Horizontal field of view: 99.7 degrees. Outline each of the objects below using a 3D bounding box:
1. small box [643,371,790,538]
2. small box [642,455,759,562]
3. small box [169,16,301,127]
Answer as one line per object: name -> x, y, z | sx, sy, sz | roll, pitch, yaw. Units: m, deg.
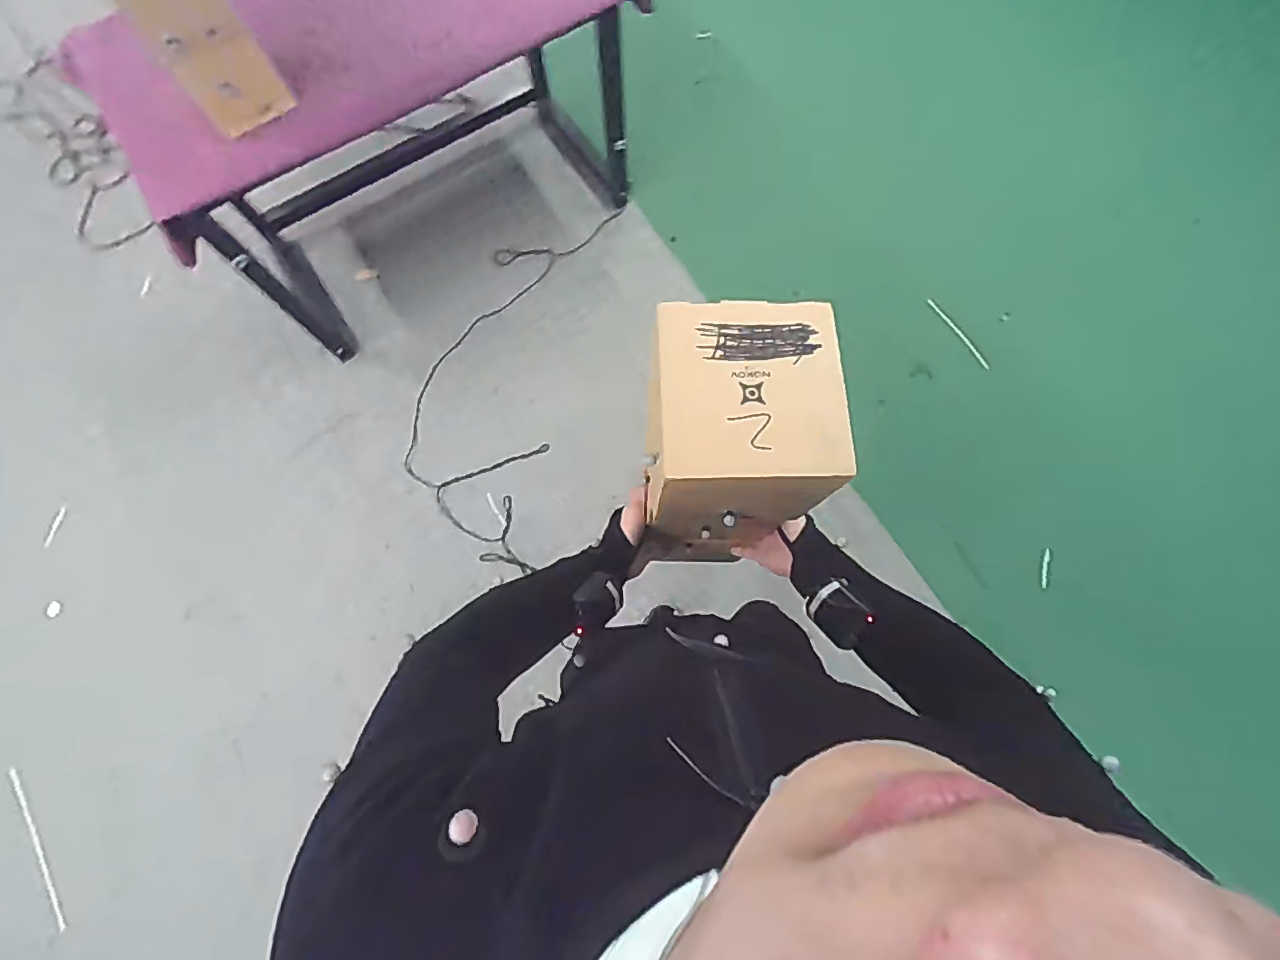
small box -> 0.091, -0.024, 0.710 | 0.168, 0.176, 0.179 | 2, 72, -1
small box -> 0.088, 0.029, 0.868 | 0.168, 0.176, 0.179 | 1, 73, 0
small box -> -0.869, -0.894, 1.146 | 0.168, 0.176, 0.179 | -35, 77, -8
